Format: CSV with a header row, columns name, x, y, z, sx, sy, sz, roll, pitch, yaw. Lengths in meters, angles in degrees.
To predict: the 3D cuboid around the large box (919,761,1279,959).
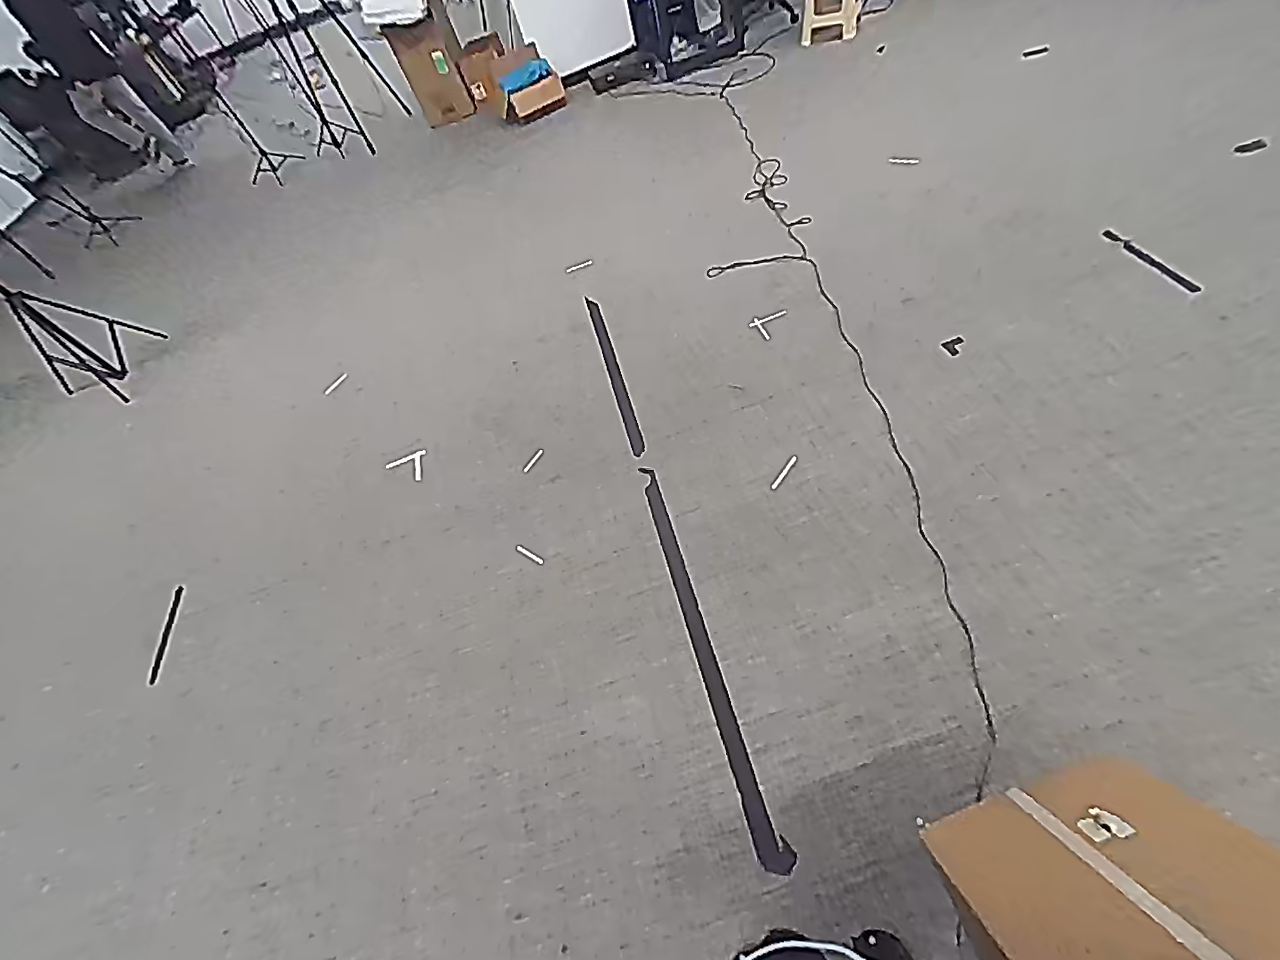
name,x,y,z,sx,sy,sz,roll,pitch,yaw
large box,0.617,0.607,0.618,0.320,0.408,0.320,-24,83,2
